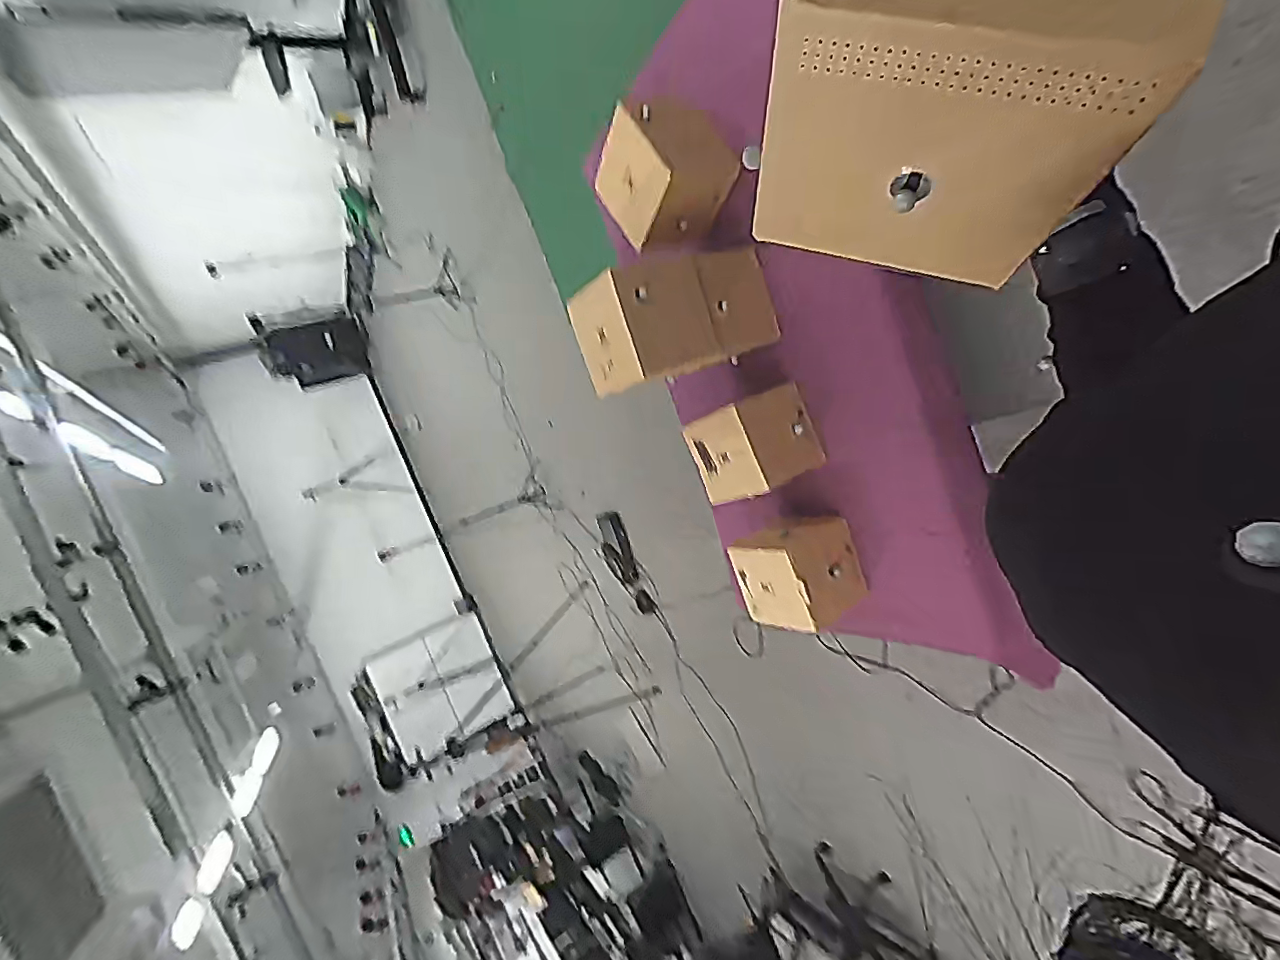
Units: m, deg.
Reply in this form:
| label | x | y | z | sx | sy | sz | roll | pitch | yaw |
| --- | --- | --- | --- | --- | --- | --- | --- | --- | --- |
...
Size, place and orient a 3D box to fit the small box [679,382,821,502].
| label | x | y | z | sx | sy | sz | roll | pitch | yaw |
| --- | --- | --- | --- | --- | --- | --- | --- | --- | --- |
| small box | 0.213 | -0.072 | 1.053 | 0.179 | 0.176 | 0.168 | -21 | 93 | 60 |

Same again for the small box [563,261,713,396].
| label | x | y | z | sx | sy | sz | roll | pitch | yaw |
| --- | --- | --- | --- | --- | --- | --- | --- | --- | --- |
| small box | -0.003 | -0.262 | 0.934 | 0.168 | 0.176 | 0.179 | -5 | 106 | 59 |

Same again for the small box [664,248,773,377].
| label | x | y | z | sx | sy | sz | roll | pitch | yaw |
| --- | --- | --- | --- | --- | --- | --- | --- | --- | --- |
| small box | 0.125 | -0.315 | 1.023 | 0.168 | 0.176 | 0.179 | -6 | 105 | 58 |

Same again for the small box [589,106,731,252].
| label | x | y | z | sx | sy | sz | roll | pitch | yaw |
| --- | --- | --- | --- | --- | --- | --- | --- | --- | --- |
| small box | 0.036 | -0.556 | 0.992 | 0.179 | 0.176 | 0.168 | 58 | 150 | 13 |

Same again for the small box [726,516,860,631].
| label | x | y | z | sx | sy | sz | roll | pitch | yaw |
| --- | --- | --- | --- | --- | --- | --- | --- | --- | --- |
| small box | 0.310 | 0.177 | 1.076 | 0.179 | 0.176 | 0.168 | -11 | 102 | 59 |
